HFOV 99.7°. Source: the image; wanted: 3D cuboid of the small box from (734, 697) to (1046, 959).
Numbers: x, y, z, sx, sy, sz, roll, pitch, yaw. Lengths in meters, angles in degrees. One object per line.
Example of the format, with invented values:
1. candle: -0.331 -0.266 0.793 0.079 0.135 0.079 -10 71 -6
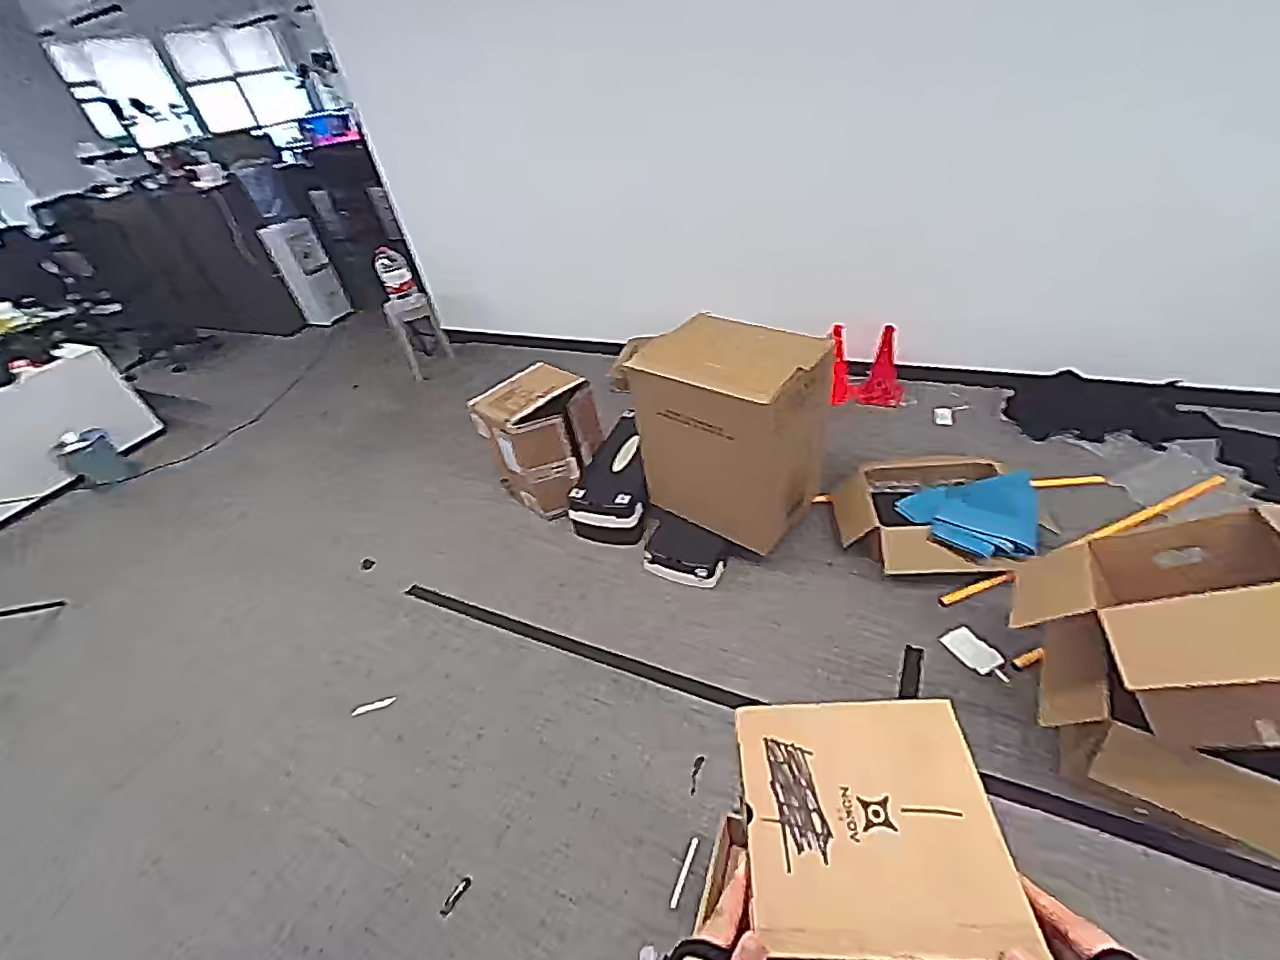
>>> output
1. small box: 0.176 0.299 0.442 0.179 0.176 0.168 -6 41 9
